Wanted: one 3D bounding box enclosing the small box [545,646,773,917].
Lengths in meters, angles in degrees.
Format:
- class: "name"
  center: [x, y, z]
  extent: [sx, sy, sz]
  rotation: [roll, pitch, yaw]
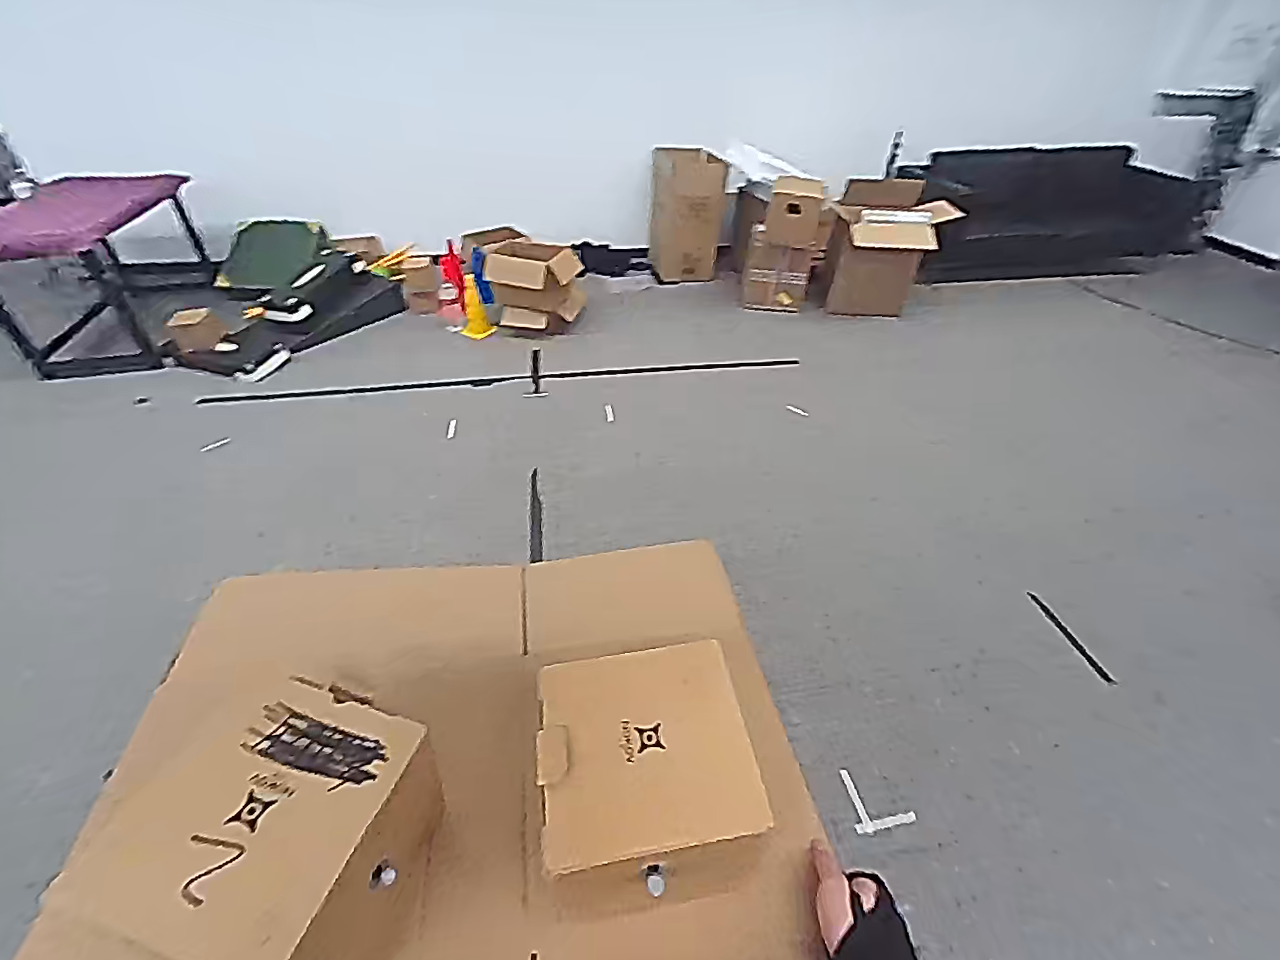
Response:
- class: "small box"
  center: [0.008, 0.287, 0.520]
  extent: [0.179, 0.176, 0.168]
  rotation: [-8, 41, -6]
